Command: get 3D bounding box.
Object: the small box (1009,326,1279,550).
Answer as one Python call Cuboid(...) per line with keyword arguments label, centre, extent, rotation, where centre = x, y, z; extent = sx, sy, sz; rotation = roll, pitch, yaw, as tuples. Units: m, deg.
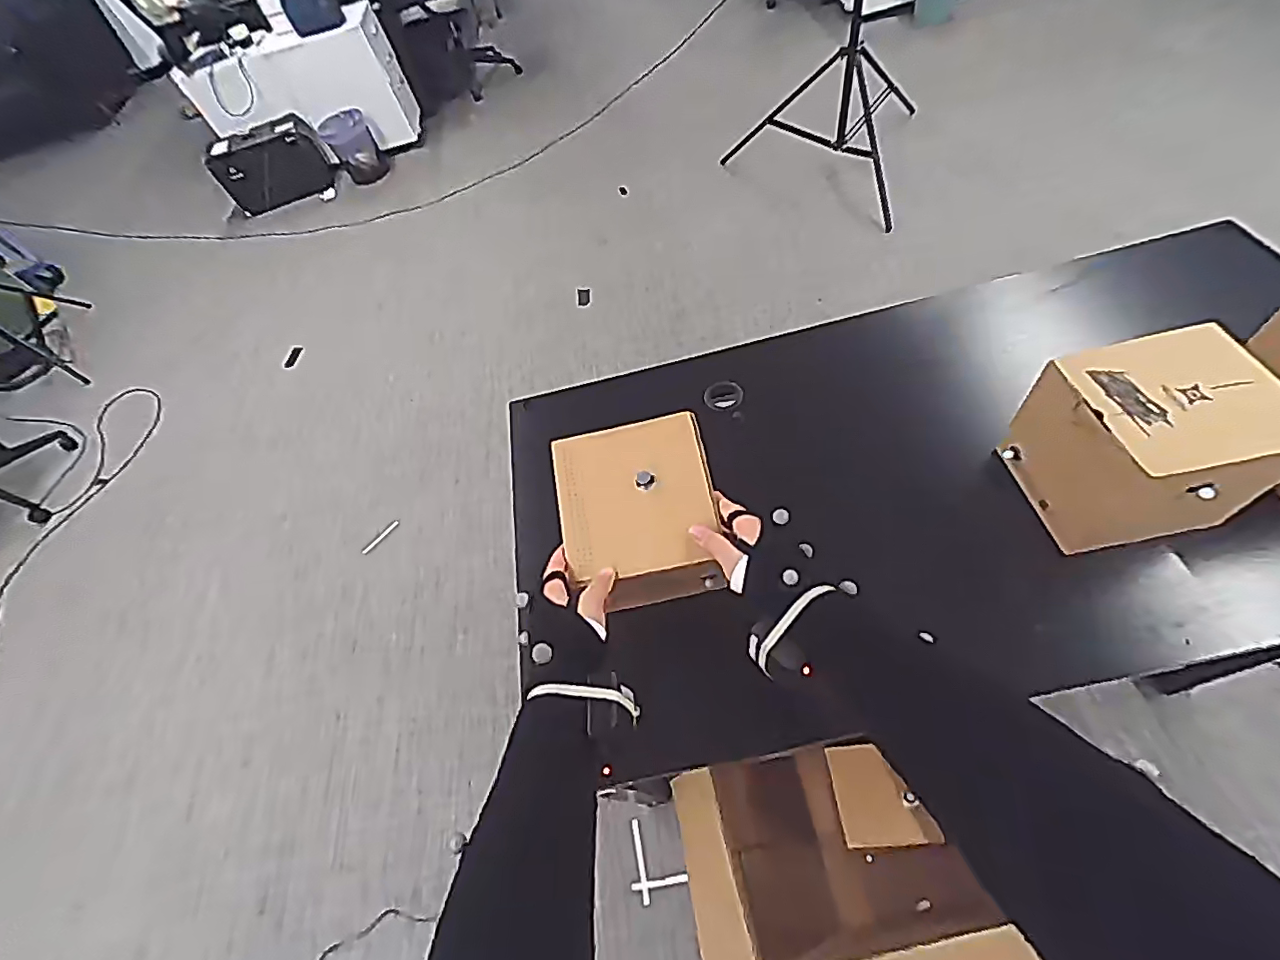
Cuboid(label="small box", centre=(0.554, -0.038, 0.604), extent=(0.179, 0.176, 0.168), rotation=(-12, 56, 4))
